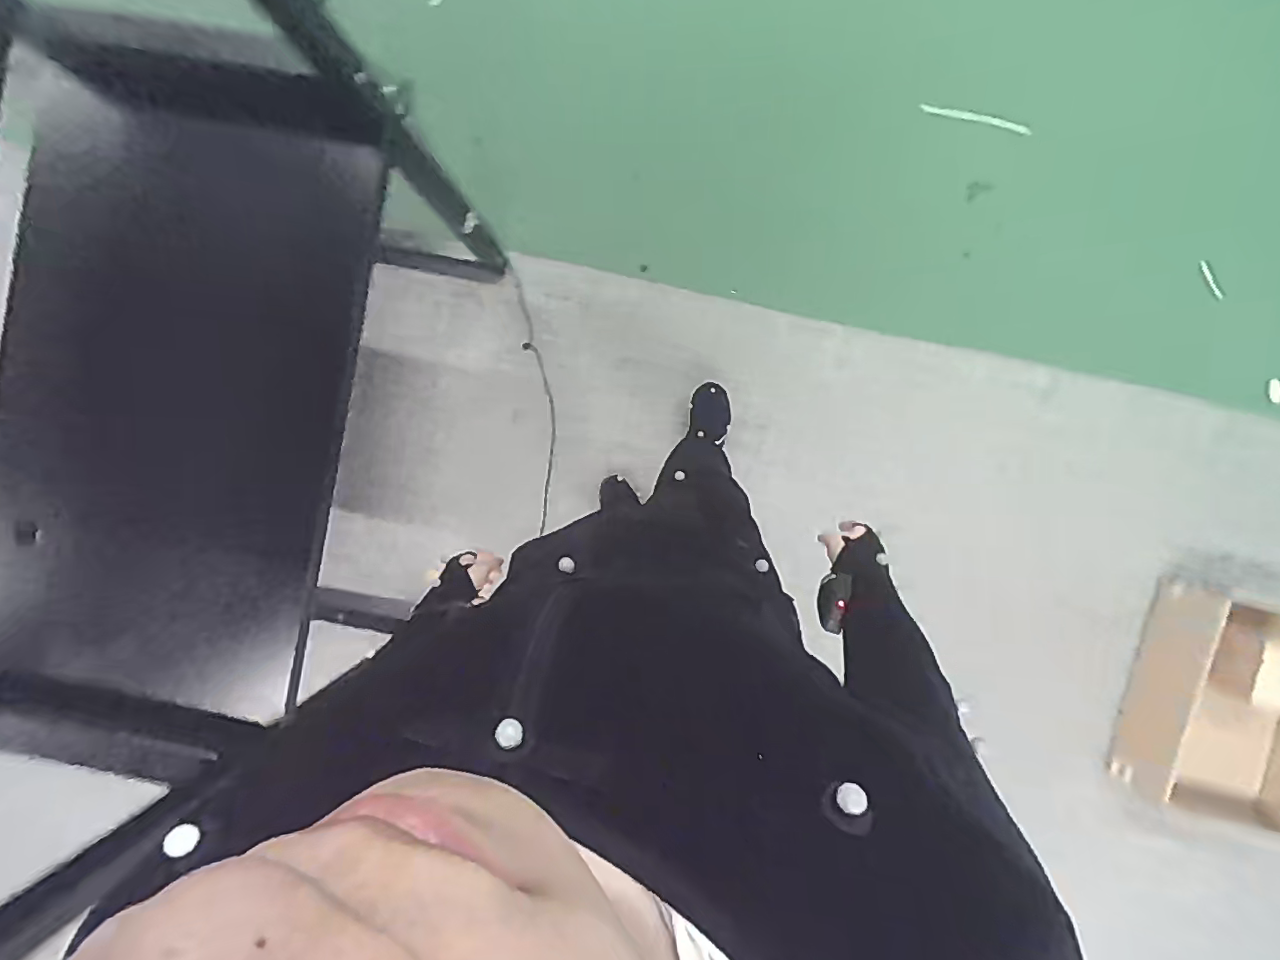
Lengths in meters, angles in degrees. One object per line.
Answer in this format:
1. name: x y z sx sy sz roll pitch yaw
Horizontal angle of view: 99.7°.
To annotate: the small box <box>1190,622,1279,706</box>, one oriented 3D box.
1. small box: 1.661 0.497 1.459 0.179 0.176 0.168 12 93 1
